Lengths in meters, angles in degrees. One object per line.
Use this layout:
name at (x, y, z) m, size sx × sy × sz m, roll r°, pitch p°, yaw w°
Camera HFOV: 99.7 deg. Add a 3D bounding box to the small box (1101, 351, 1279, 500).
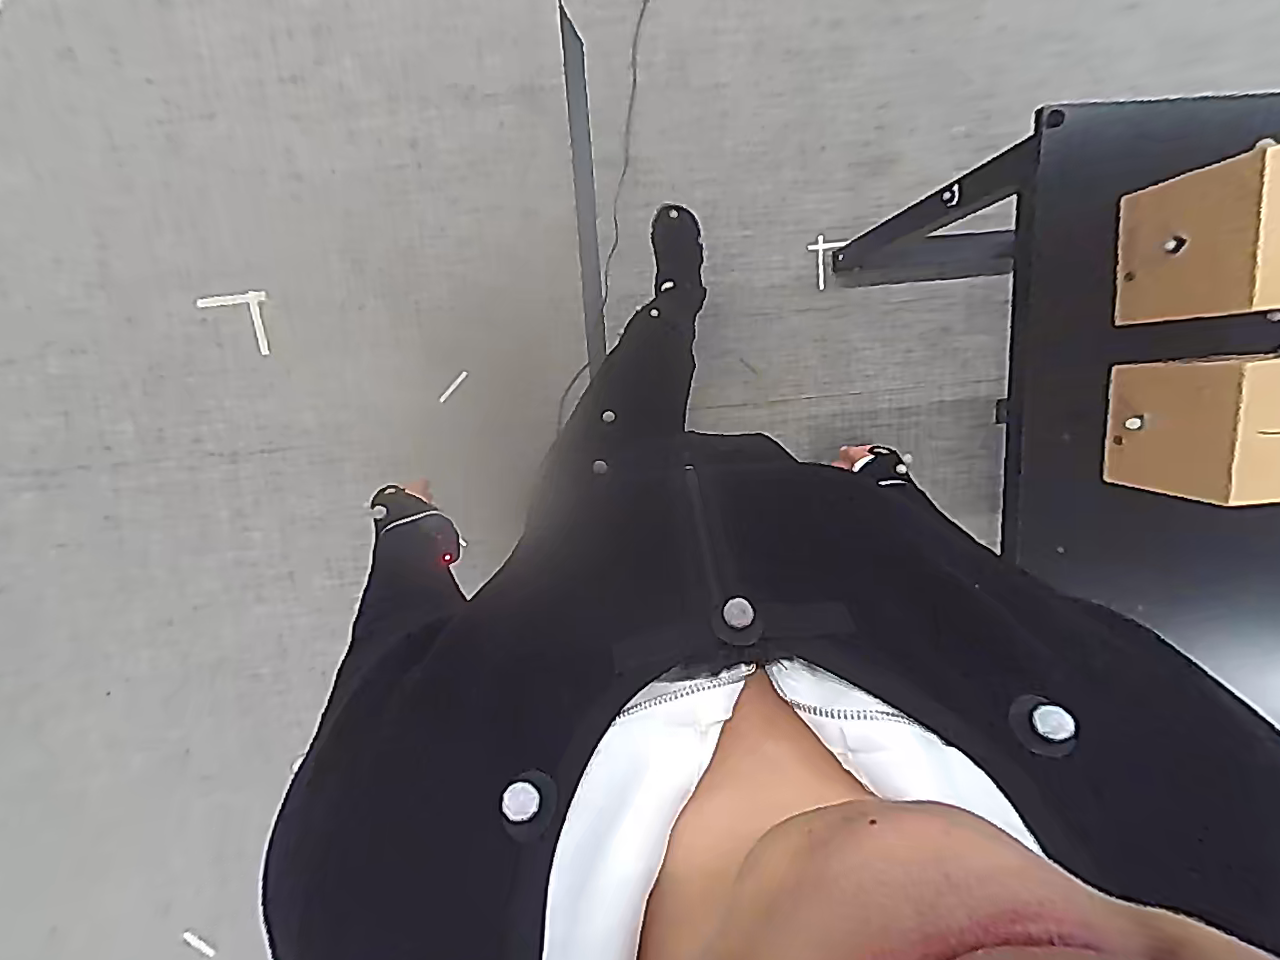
small box at (0.753, -0.078, 0.692) m, size 0.179 × 0.176 × 0.168 m, roll -5°, pitch 100°, yaw -1°
